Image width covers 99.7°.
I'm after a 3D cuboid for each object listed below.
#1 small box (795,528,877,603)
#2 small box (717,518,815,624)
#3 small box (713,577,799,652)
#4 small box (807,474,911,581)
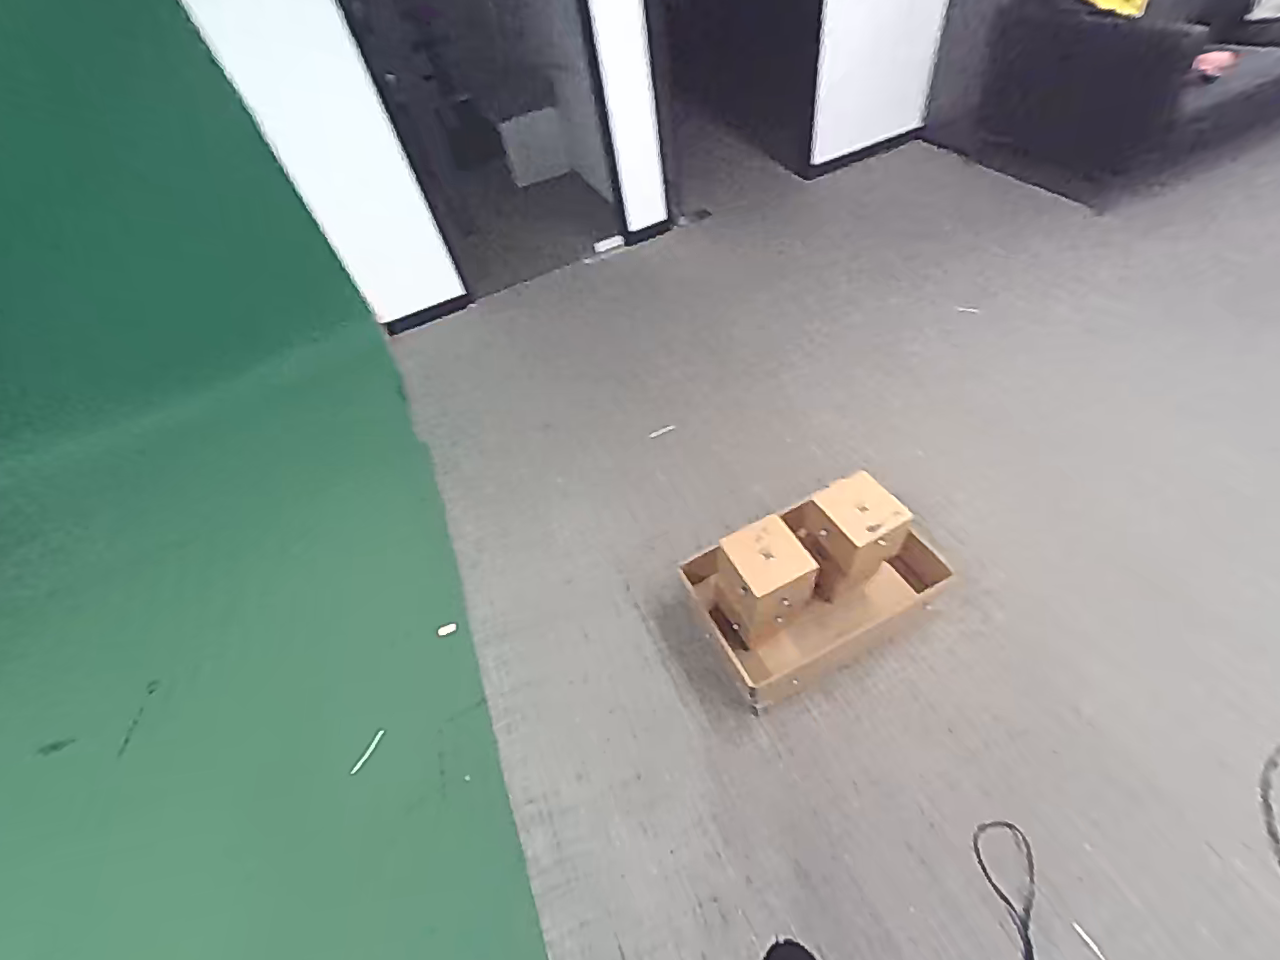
[{"bbox_3d":[0.553,0.214,1.512,0.179,0.176,0.168,-29,52,-14],"label":"small box"},{"bbox_3d":[0.306,0.231,1.331,0.168,0.176,0.179,-24,51,-11],"label":"small box"},{"bbox_3d":[0.316,0.332,1.460,0.179,0.176,0.168,-27,52,-14],"label":"small box"},{"bbox_3d":[0.545,0.124,1.374,0.168,0.176,0.179,-27,50,-10],"label":"small box"}]
